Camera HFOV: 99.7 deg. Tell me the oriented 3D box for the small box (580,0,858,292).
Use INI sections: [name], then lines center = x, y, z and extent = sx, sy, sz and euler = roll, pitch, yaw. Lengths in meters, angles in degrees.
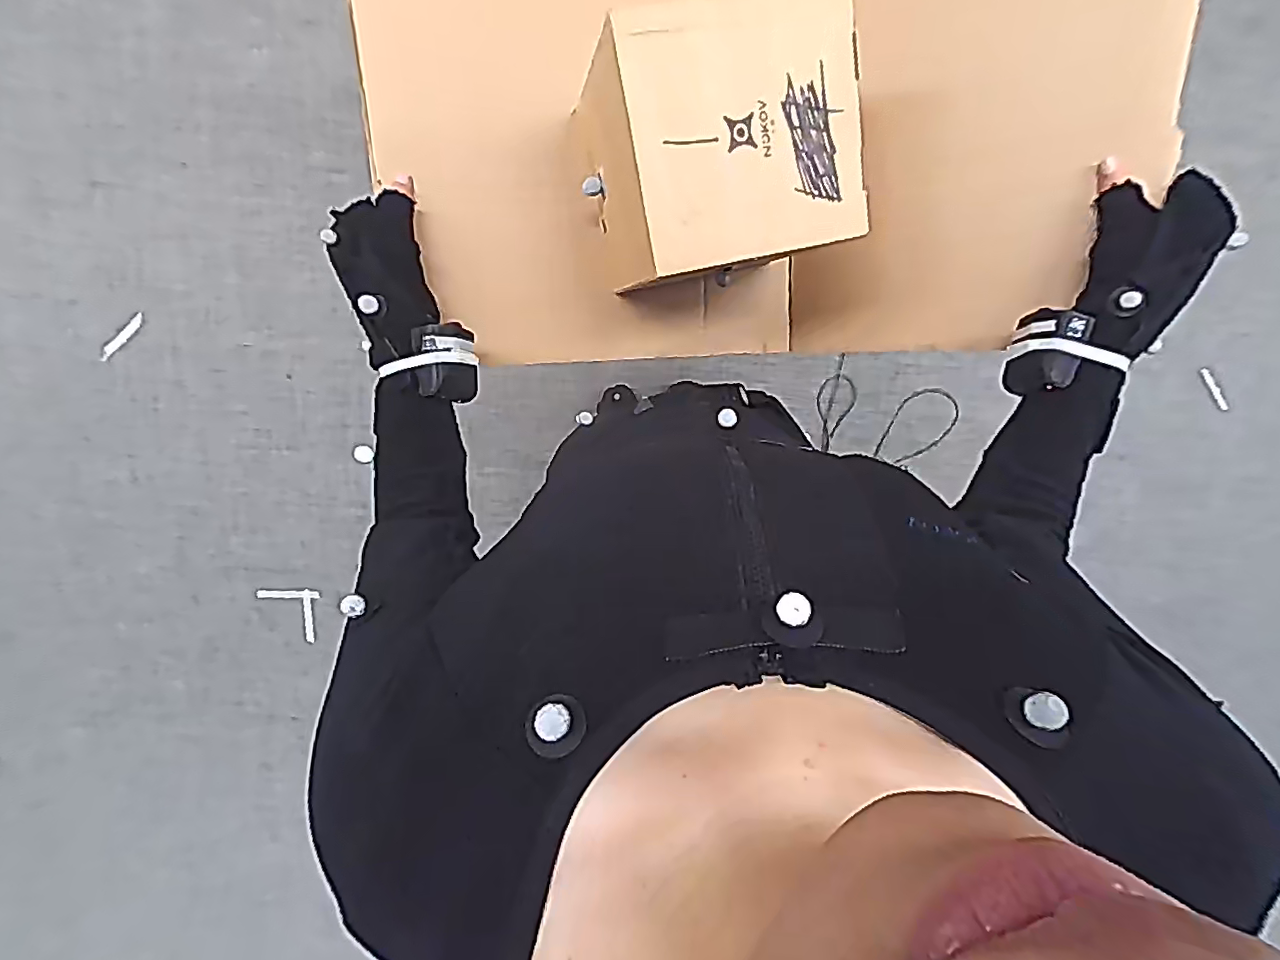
[small box]
center = 0.058, -0.266, 0.466
extent = 0.179, 0.176, 0.168
euler = -15, 107, -9
